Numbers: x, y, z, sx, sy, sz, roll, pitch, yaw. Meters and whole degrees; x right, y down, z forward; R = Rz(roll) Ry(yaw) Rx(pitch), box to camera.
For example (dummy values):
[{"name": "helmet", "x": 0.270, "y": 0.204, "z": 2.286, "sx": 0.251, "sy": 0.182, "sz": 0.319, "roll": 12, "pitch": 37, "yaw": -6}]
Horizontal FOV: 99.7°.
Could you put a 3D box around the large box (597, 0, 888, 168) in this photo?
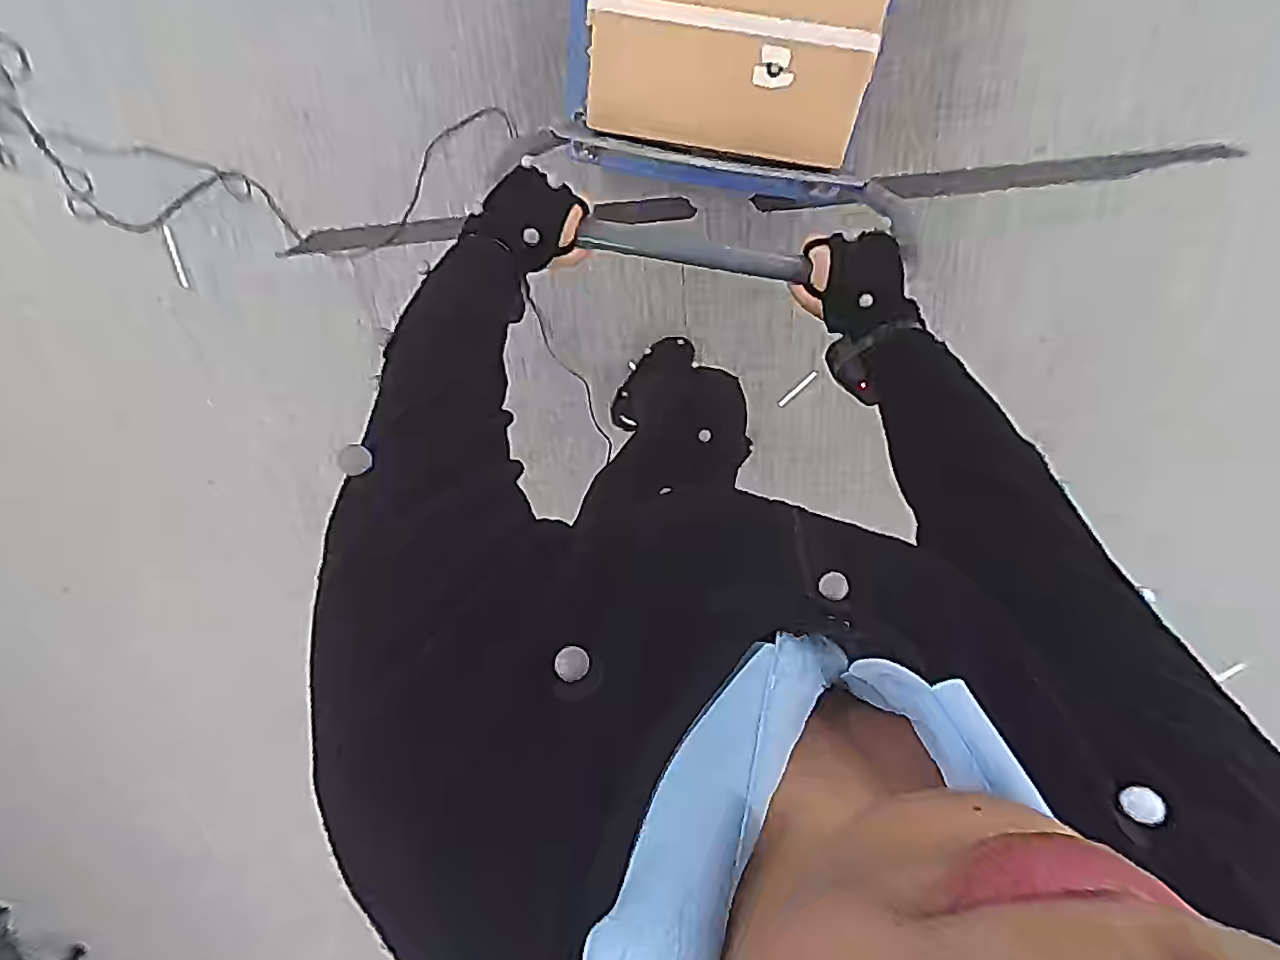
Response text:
[{"name": "large box", "x": 0.151, "y": -0.725, "z": 0.900, "sx": 0.408, "sy": 0.320, "sz": 0.320, "roll": 8, "pitch": 124, "yaw": 0}]
